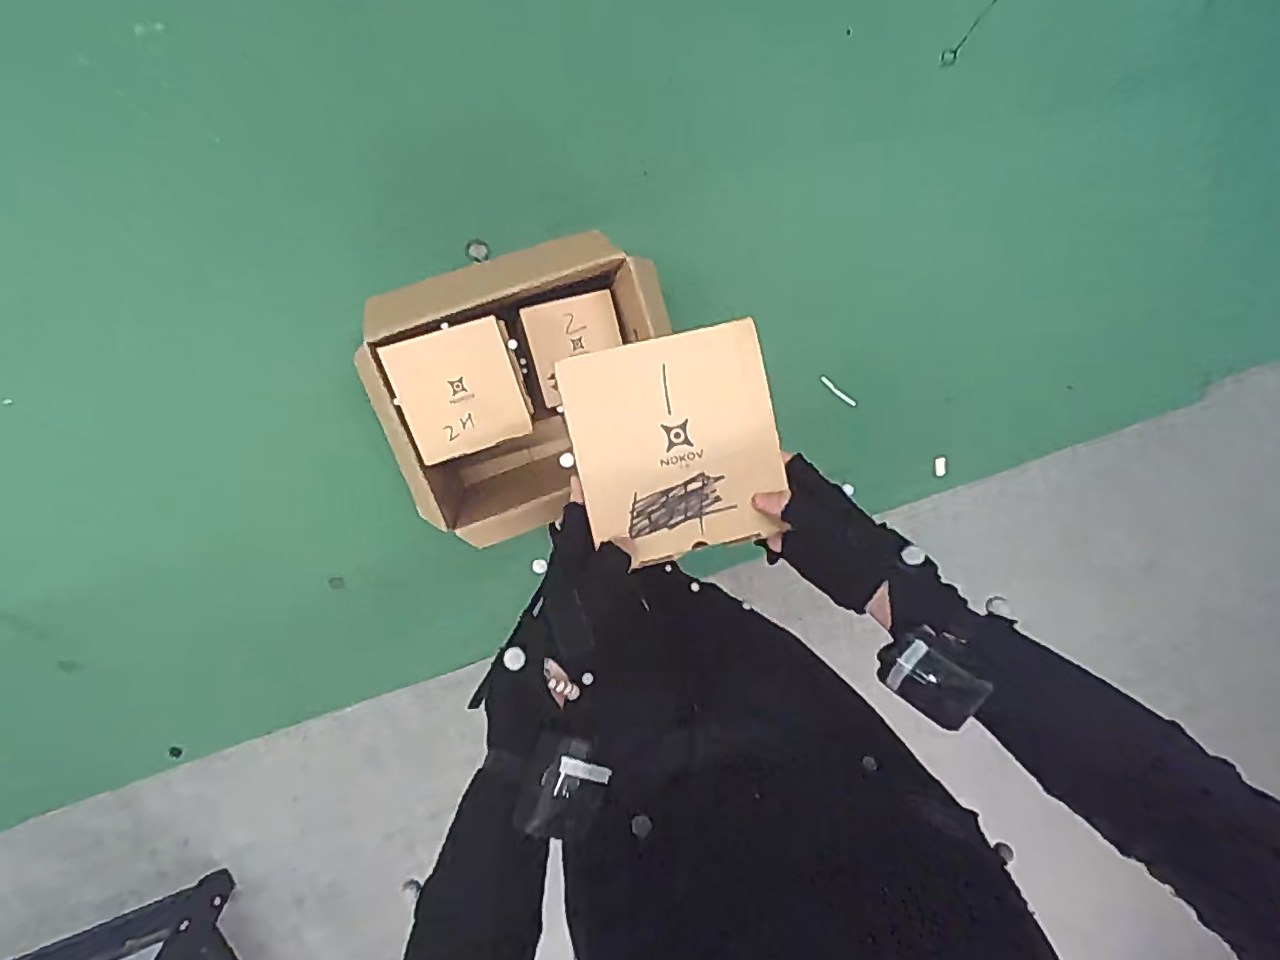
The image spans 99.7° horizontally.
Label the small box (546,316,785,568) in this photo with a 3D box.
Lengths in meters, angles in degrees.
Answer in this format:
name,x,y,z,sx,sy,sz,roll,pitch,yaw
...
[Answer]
name,x,y,z,sx,sy,sz,roll,pitch,yaw
small box,0.017,-0.035,0.512,0.168,0.176,0.179,-14,94,-5
